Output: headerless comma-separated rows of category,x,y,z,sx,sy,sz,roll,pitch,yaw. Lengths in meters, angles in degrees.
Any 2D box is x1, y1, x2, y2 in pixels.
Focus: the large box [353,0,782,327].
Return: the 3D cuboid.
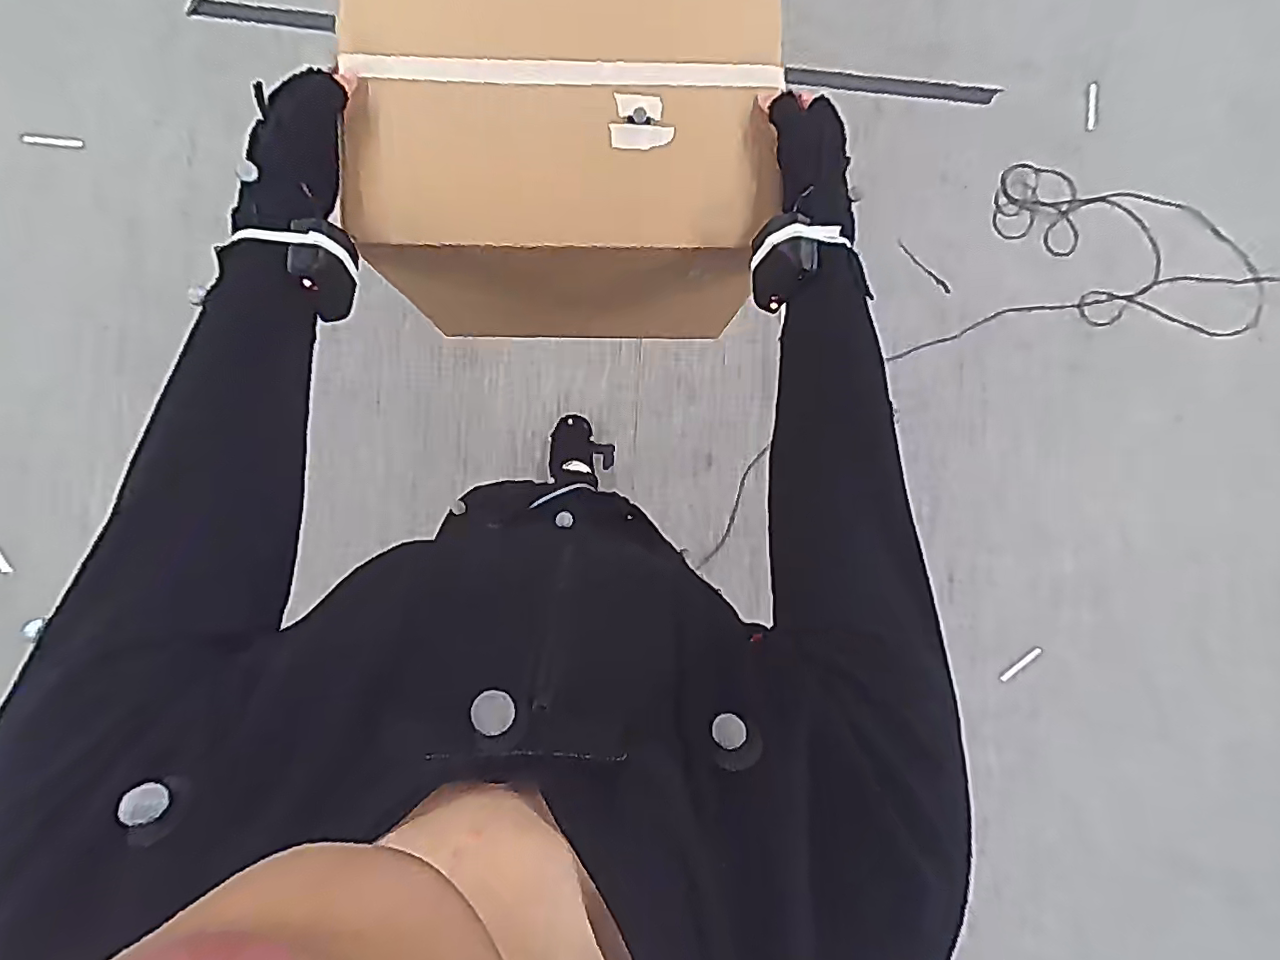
large box,-0.076,-0.382,0.655,0.408,0.320,0.320,-1,90,-4
